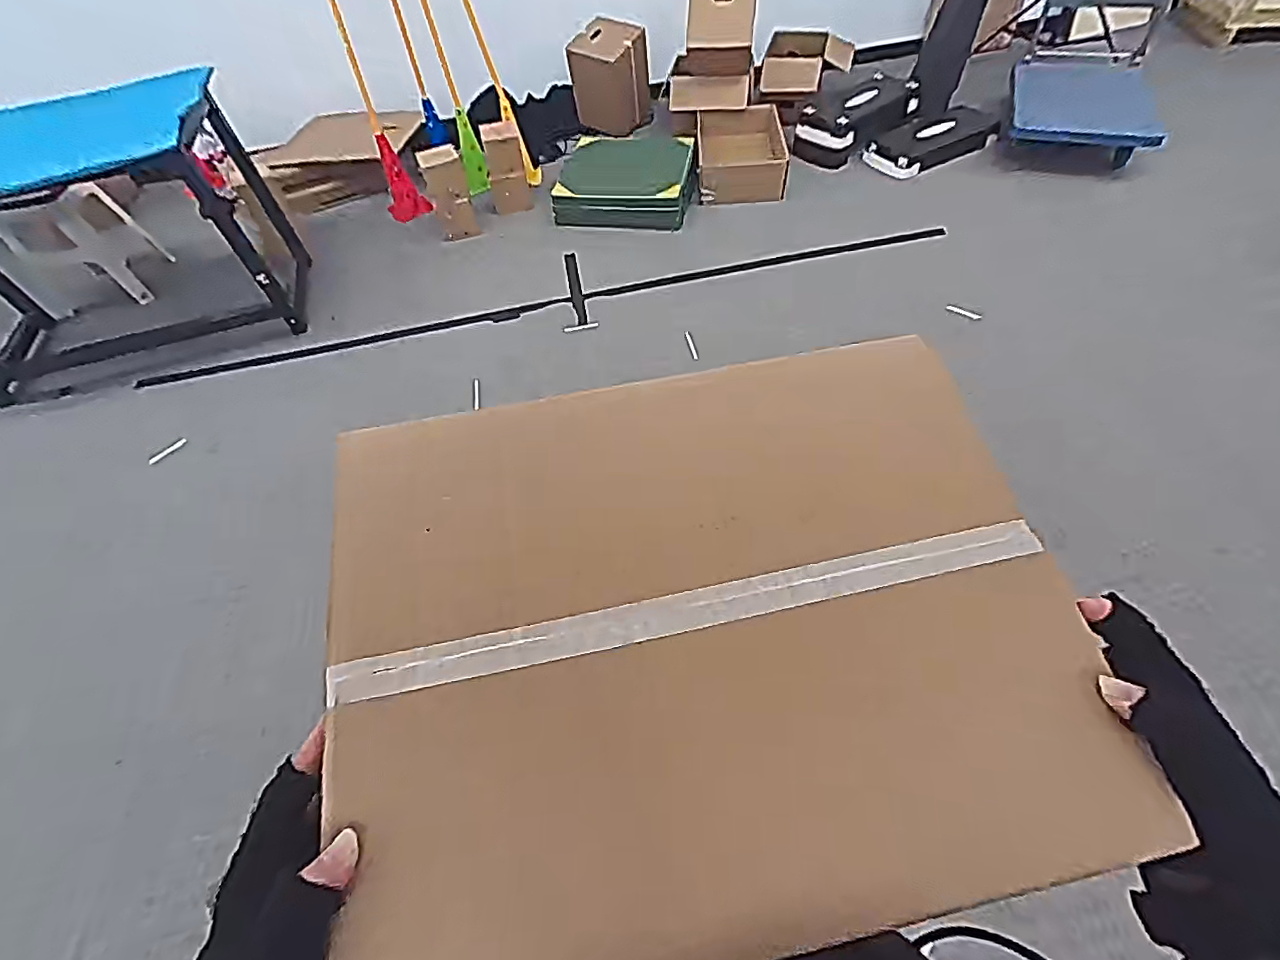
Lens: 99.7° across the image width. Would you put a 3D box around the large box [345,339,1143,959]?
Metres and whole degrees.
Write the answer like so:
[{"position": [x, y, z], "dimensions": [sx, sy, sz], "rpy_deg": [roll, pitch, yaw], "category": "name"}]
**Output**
[{"position": [0.035, 0.133, 0.451], "dimensions": [0.408, 0.320, 0.320], "rpy_deg": [-11, 65, -4], "category": "large box"}]
